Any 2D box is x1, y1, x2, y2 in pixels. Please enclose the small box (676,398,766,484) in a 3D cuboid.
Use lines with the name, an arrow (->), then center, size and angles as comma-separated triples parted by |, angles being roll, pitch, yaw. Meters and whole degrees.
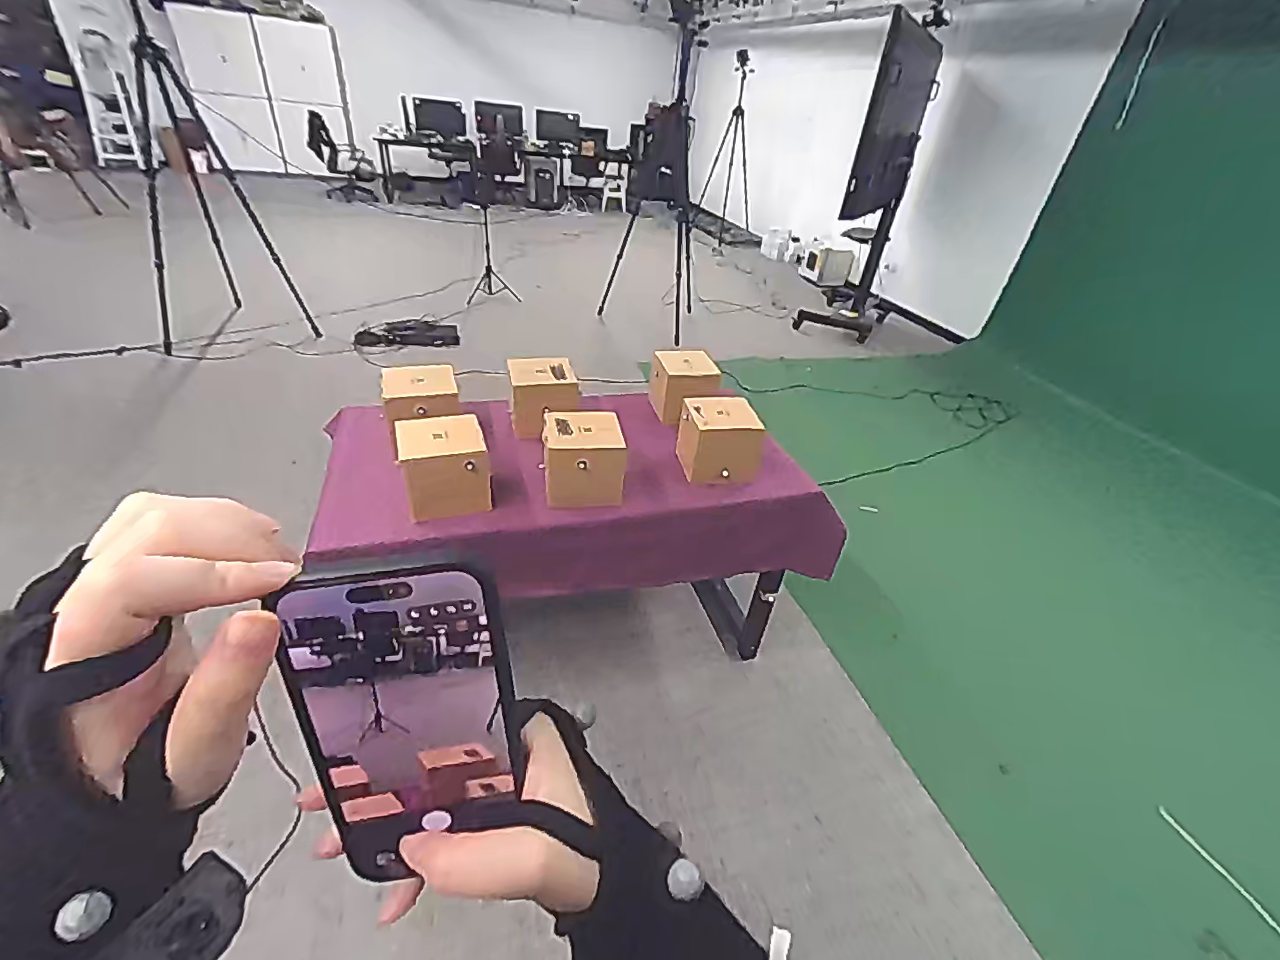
small box -> 0.207, -0.101, 1.431 | 0.179, 0.176, 0.168 | -1, 36, -11

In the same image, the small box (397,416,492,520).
small box -> -0.438, -0.028, 1.218 | 0.179, 0.176, 0.168 | -8, 38, -22

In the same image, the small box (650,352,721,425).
small box -> 0.132, -0.285, 1.675 | 0.168, 0.176, 0.179 | -4, 37, -14

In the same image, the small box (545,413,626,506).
small box -> -0.136, -0.048, 1.298 | 0.179, 0.176, 0.168 | -1, 36, -13
